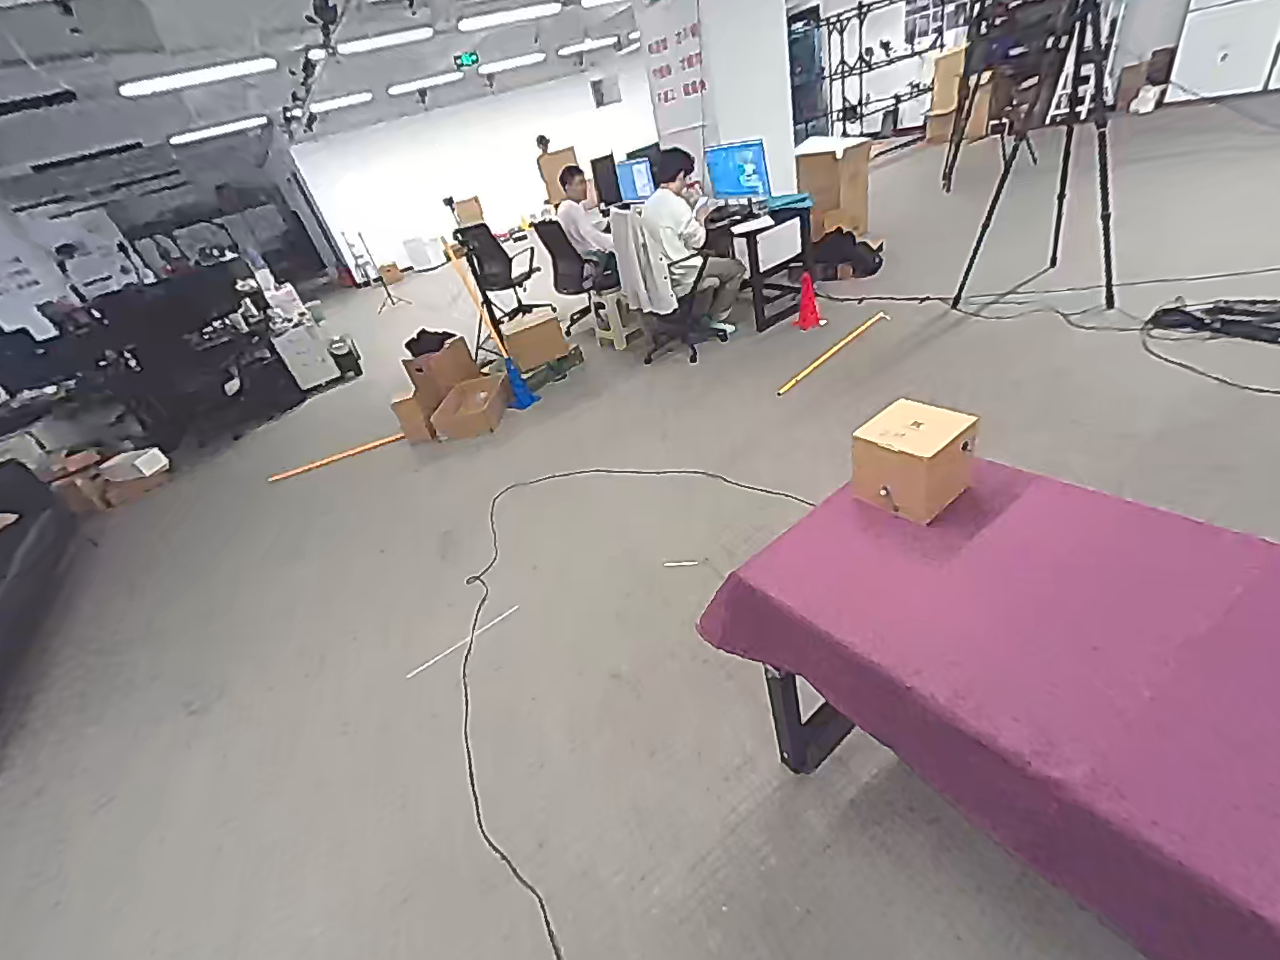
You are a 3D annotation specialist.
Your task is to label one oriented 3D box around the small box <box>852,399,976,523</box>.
[{"bbox_3d":[0.565,-0.042,1.129,0.179,0.176,0.168,-32,36,-22],"label":"small box"}]
